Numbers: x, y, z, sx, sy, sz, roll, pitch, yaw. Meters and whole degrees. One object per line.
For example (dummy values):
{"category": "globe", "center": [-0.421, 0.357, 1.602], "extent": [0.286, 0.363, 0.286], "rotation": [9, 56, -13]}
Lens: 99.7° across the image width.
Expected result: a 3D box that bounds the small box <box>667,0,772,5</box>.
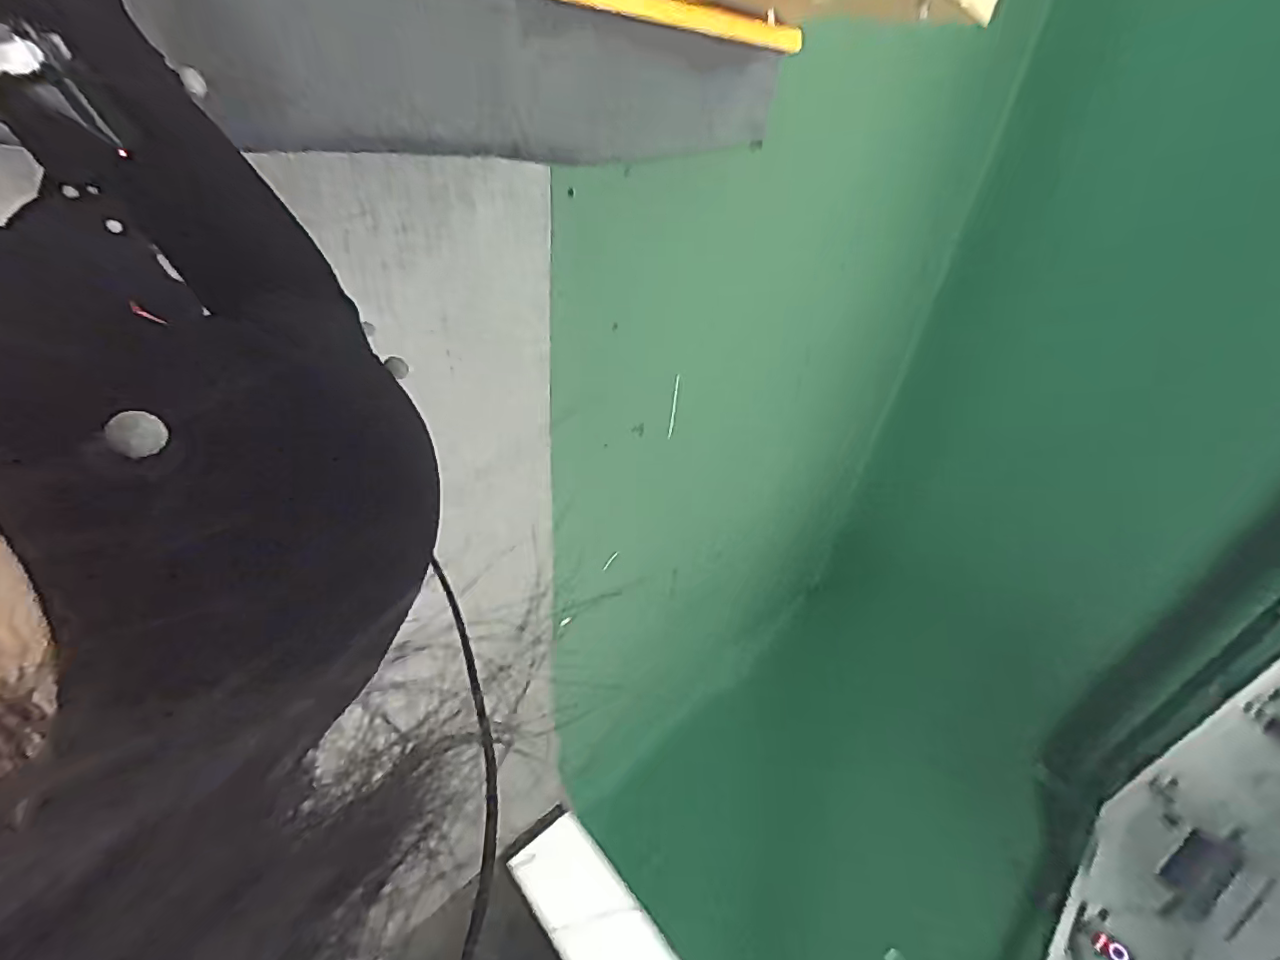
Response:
{"category": "small box", "center": [0.062, -0.678, 0.623], "extent": [0.168, 0.176, 0.179], "rotation": [-22, 133, -38]}
